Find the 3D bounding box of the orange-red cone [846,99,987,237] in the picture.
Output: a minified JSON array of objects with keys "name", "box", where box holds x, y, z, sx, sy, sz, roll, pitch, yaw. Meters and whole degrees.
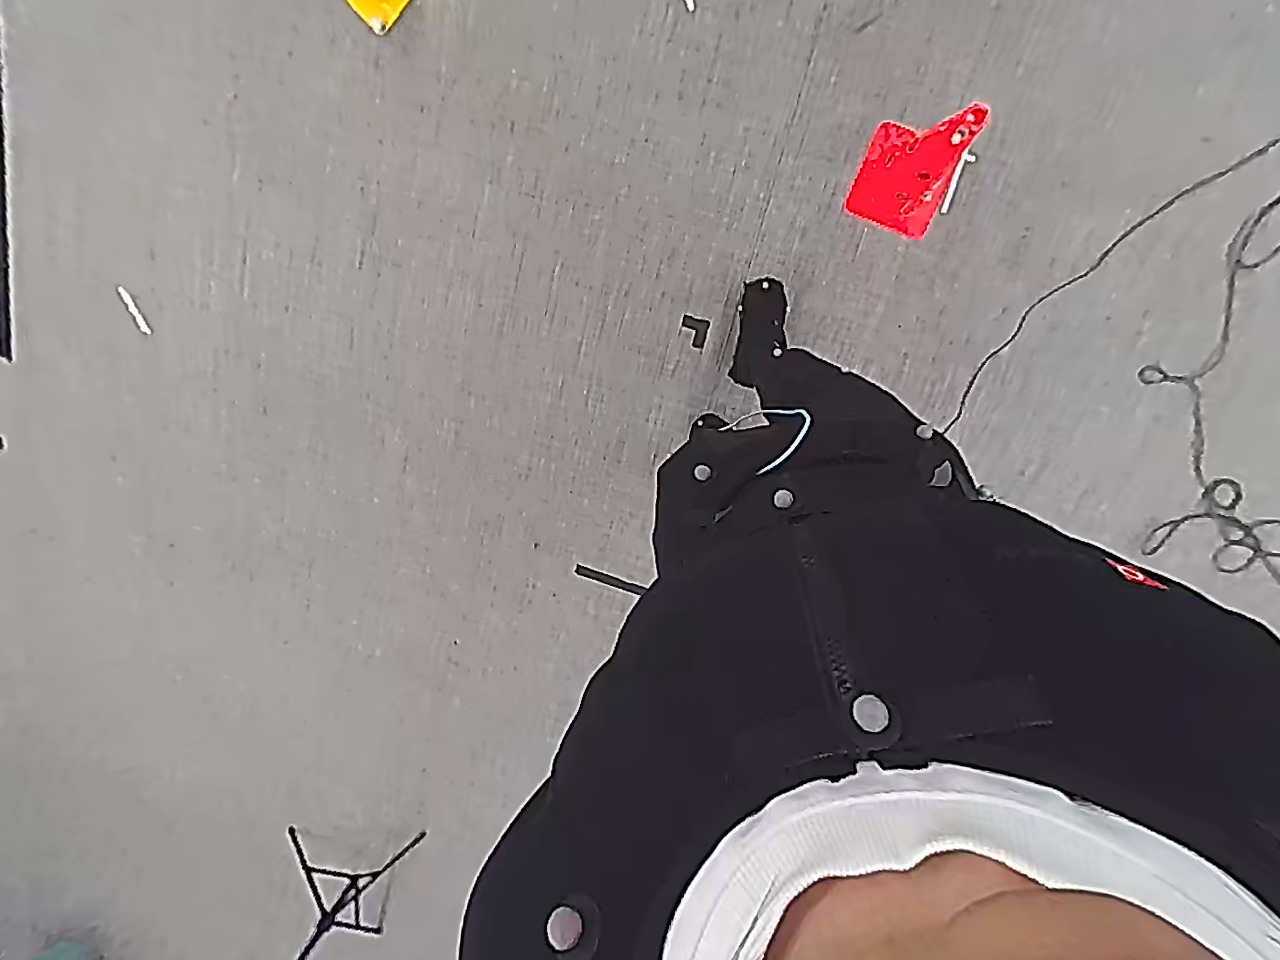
[{"name":"orange-red cone","box":[0.569,-0.639,1.054,0.199,0.360,0.198,24,104,2]}]
